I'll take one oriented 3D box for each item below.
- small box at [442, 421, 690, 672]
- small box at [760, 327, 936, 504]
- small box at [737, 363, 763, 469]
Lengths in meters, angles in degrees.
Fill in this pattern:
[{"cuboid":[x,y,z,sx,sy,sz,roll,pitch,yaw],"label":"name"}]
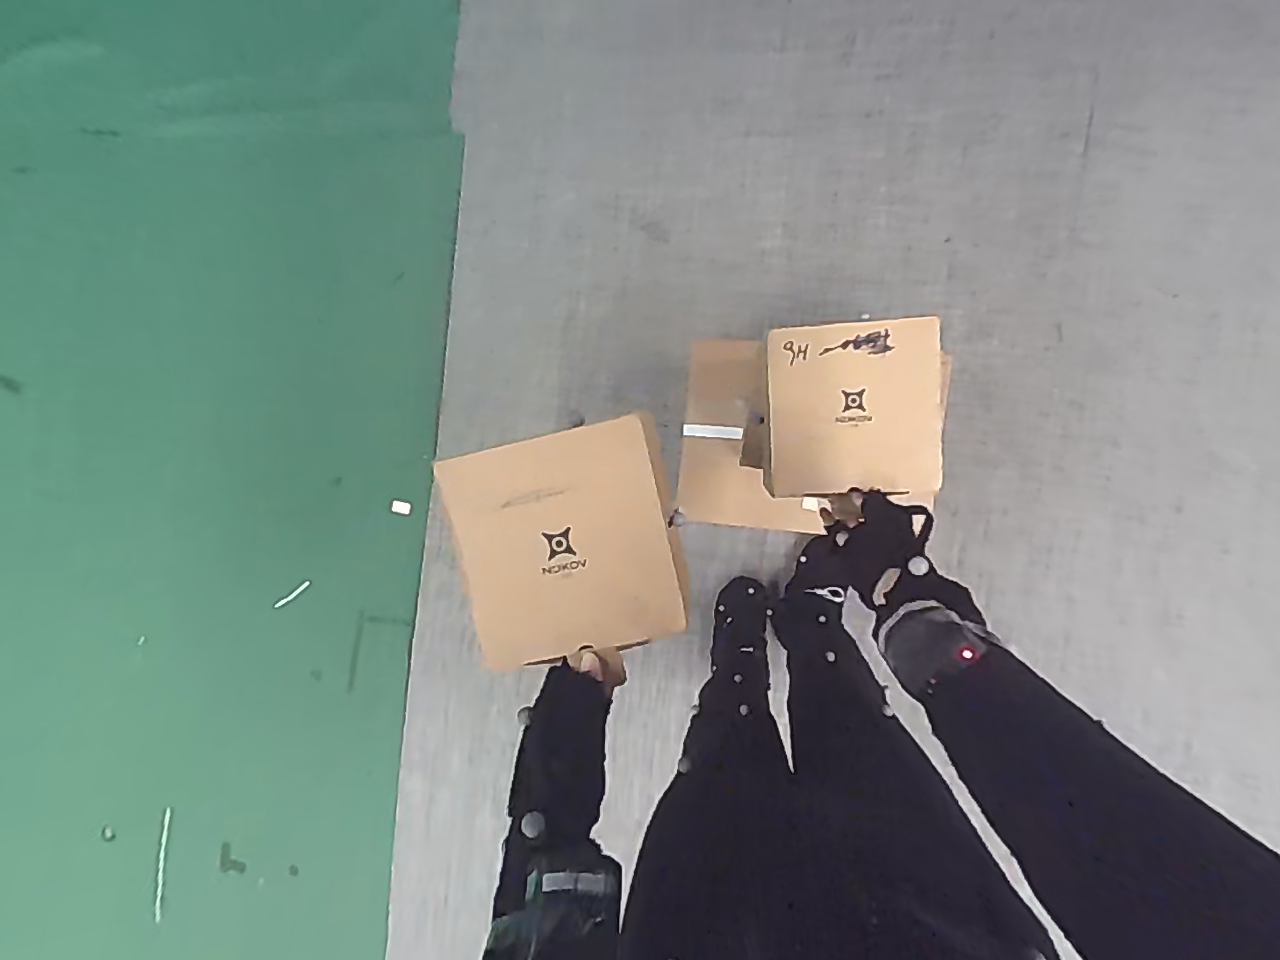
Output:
[{"cuboid":[-0.050,0.047,0.499,0.168,0.176,0.179,-14,94,5],"label":"small box"},{"cuboid":[0.229,-0.070,0.631,0.168,0.176,0.179,-2,94,10],"label":"small box"},{"cuboid":[0.247,-0.089,0.796,0.179,0.176,0.168,13,96,8],"label":"small box"}]
